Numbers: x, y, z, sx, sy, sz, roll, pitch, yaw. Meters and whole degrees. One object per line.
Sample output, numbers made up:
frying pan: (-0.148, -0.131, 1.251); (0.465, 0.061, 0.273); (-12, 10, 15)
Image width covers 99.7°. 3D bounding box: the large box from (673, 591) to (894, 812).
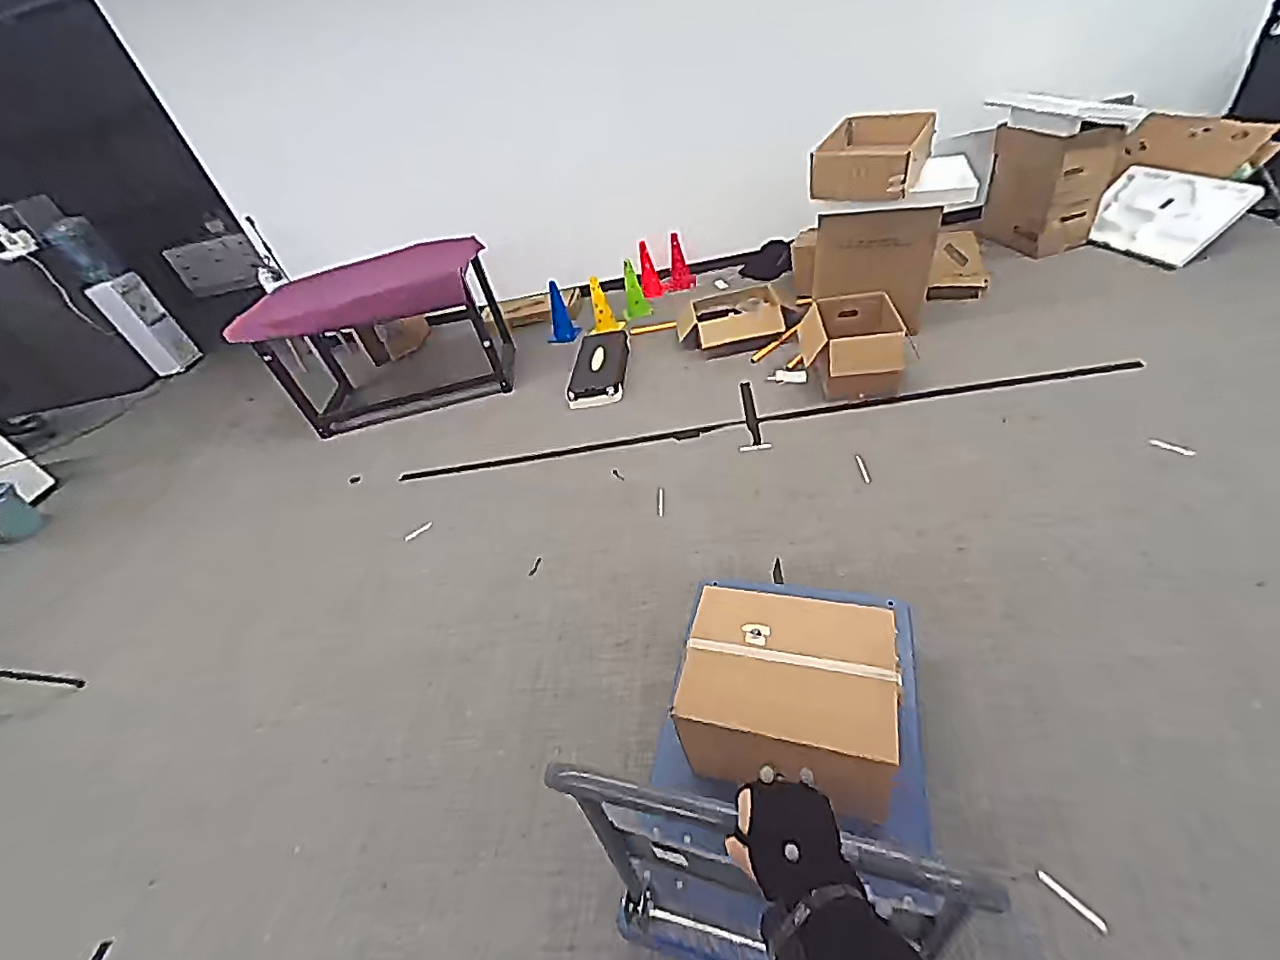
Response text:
large box: (0.324, 0.477, 1.193); (0.408, 0.320, 0.320); (2, 42, 21)
